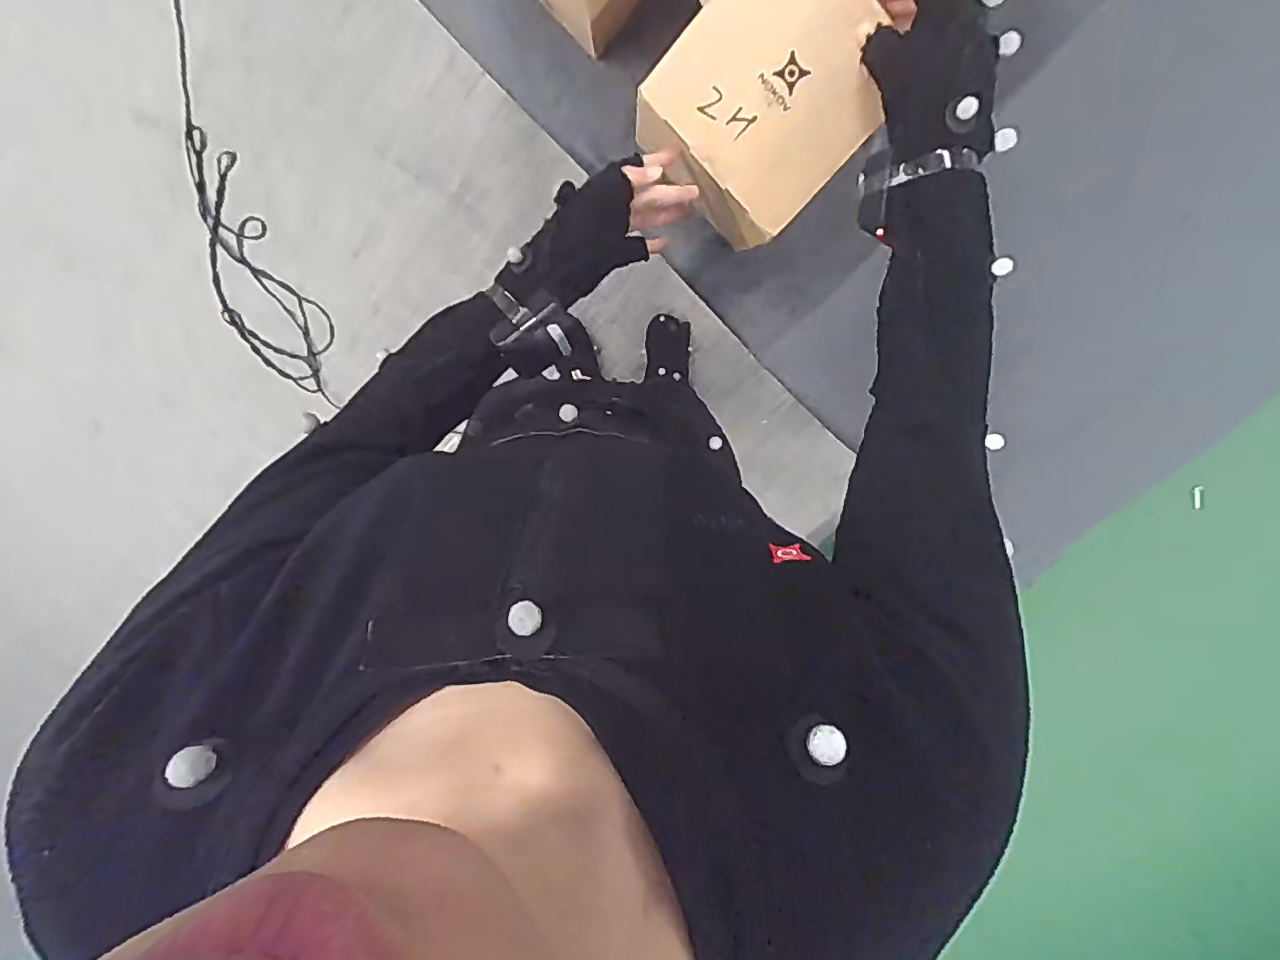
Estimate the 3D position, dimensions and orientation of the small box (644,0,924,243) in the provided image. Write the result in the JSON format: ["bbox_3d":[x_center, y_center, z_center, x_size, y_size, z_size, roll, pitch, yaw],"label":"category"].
[{"bbox_3d":[0.115,-0.354,0.515,0.168,0.176,0.179,41,105,-14],"label":"small box"}]
